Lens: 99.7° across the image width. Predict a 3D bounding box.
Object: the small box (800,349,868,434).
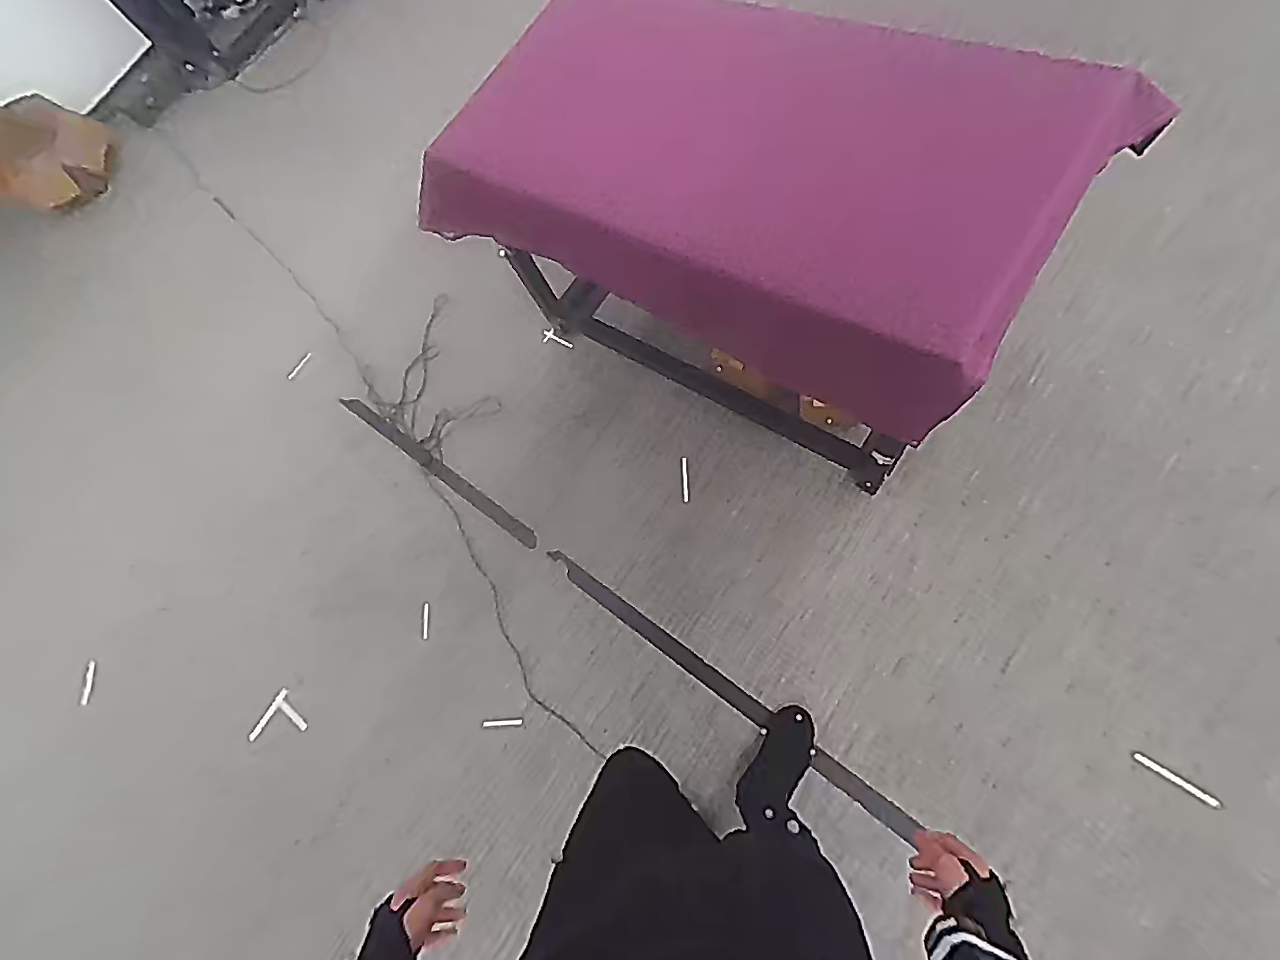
[{"bbox_3d":[0.537,-0.244,1.507,0.168,0.176,0.179,1,71,16],"label":"small box"}]
